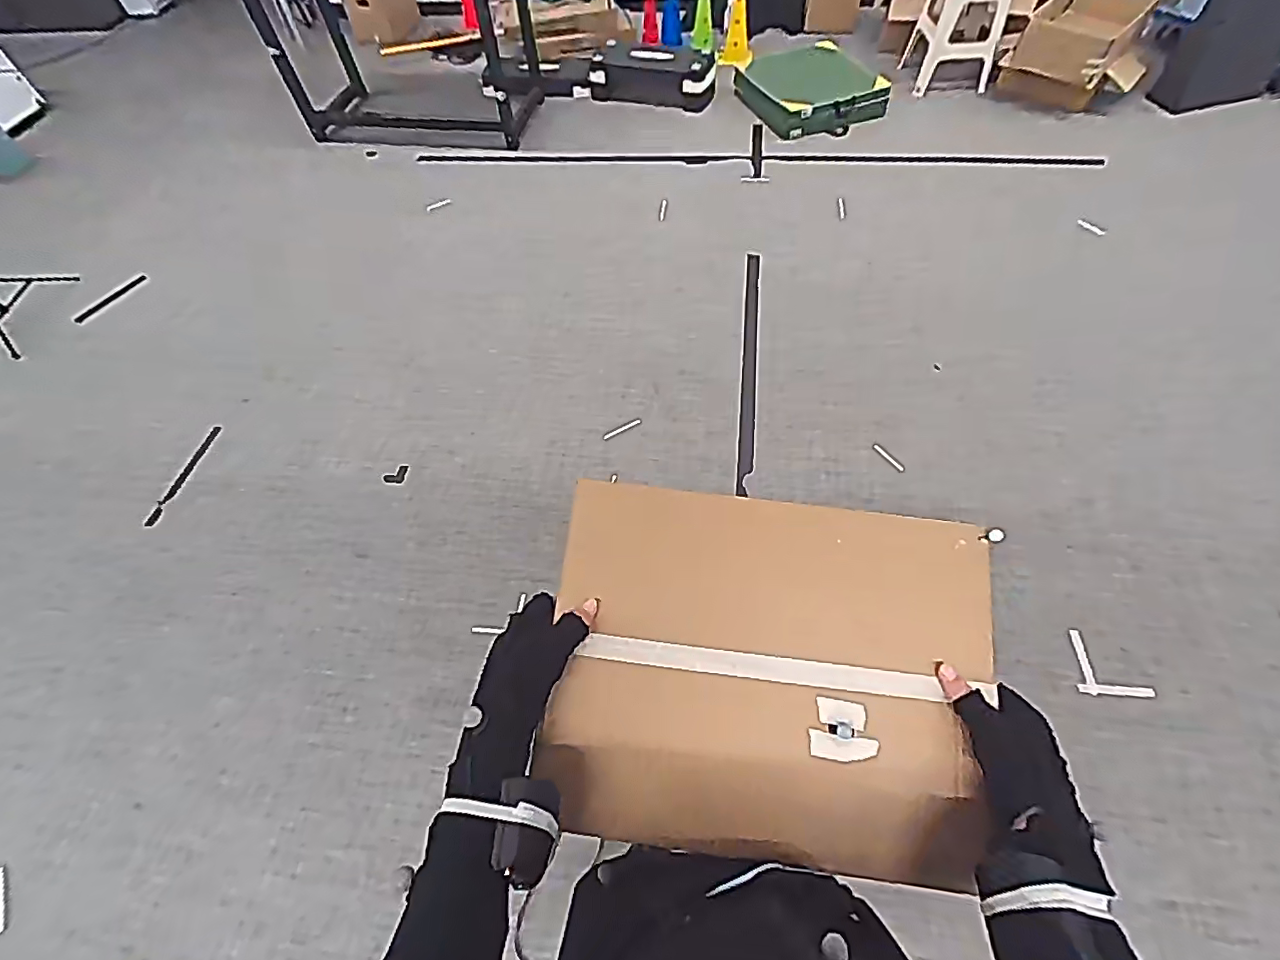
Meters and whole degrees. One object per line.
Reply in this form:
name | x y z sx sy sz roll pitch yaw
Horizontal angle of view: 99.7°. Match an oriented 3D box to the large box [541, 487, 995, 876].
large box | 0.126 0.214 0.653 0.408 0.320 0.320 7 75 4
